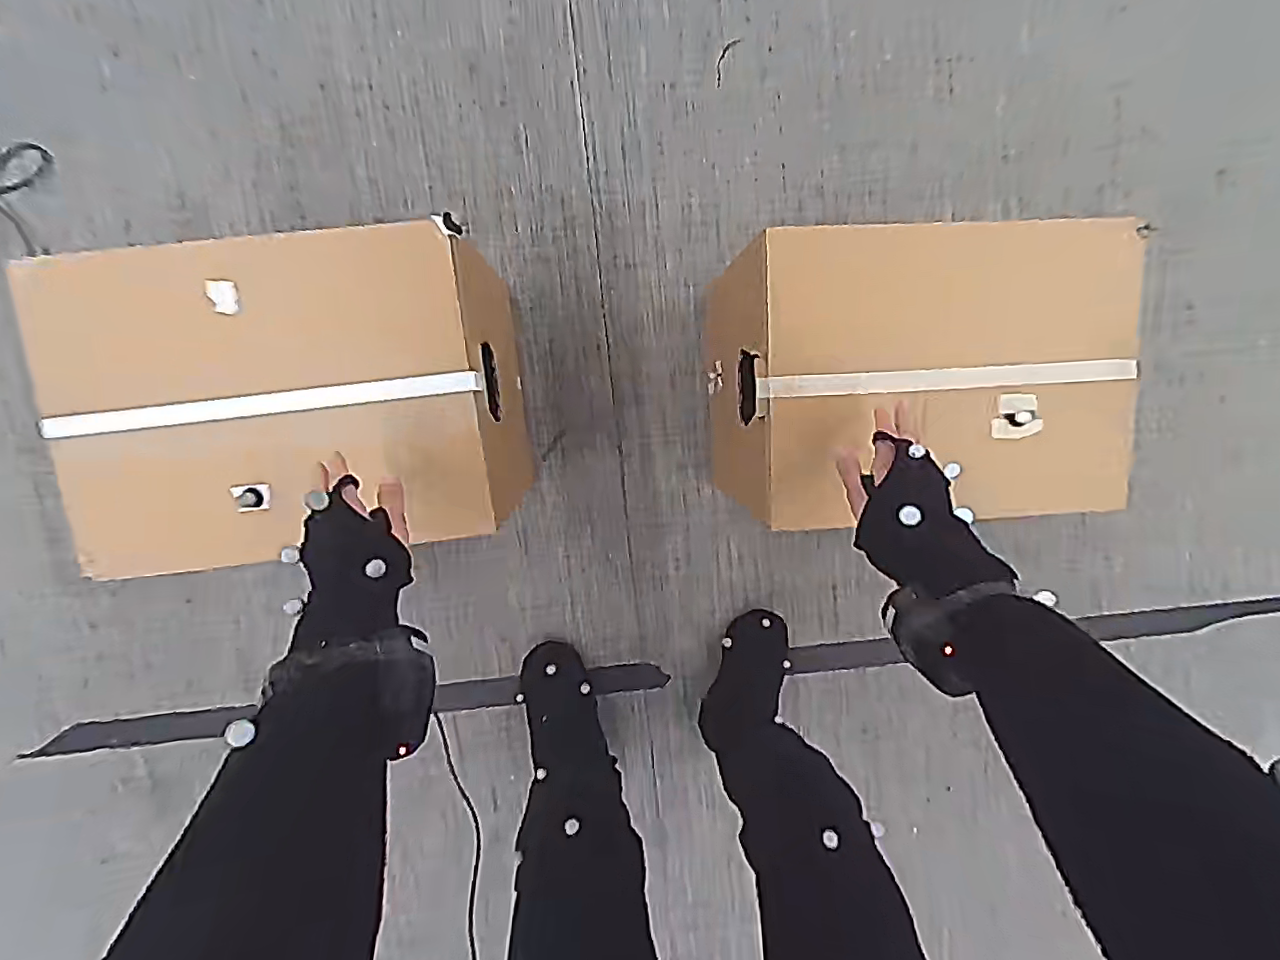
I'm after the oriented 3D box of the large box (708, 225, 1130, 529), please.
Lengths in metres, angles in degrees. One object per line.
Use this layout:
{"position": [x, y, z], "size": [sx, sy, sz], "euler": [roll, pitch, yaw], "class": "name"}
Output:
{"position": [0.322, -0.128, 0.731], "size": [0.408, 0.320, 0.320], "euler": [-3, 98, -4], "class": "large box"}
